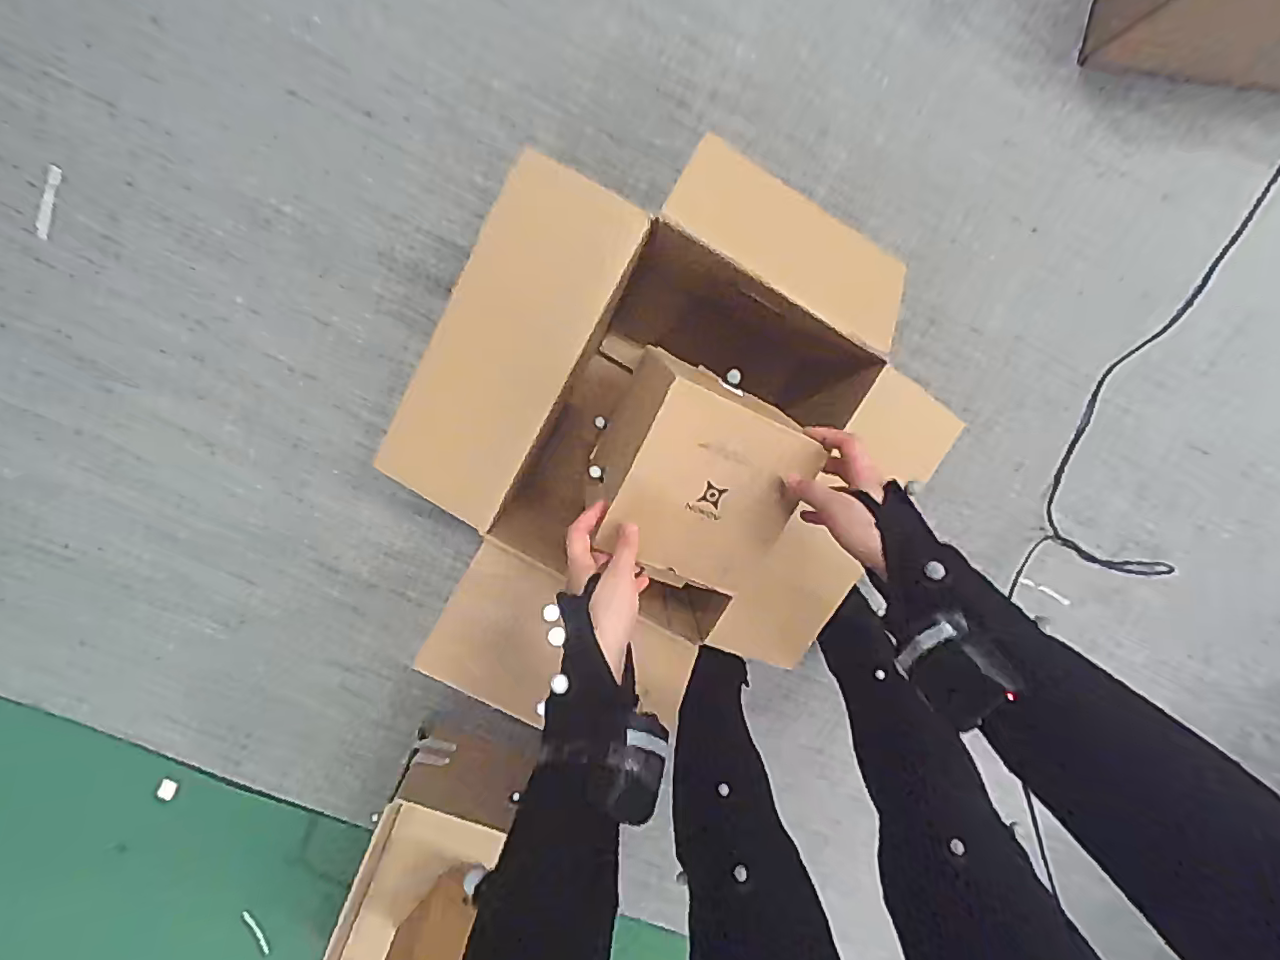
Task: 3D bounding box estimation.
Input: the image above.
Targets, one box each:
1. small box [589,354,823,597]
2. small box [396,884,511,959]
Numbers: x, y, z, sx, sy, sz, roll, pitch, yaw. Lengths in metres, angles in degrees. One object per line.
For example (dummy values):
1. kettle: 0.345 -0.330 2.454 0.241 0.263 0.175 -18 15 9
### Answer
1. small box: 0.052 -0.013 0.573 0.168 0.176 0.179 21 107 -17
2. small box: -0.357 0.908 1.000 0.168 0.176 0.179 36 98 -7
